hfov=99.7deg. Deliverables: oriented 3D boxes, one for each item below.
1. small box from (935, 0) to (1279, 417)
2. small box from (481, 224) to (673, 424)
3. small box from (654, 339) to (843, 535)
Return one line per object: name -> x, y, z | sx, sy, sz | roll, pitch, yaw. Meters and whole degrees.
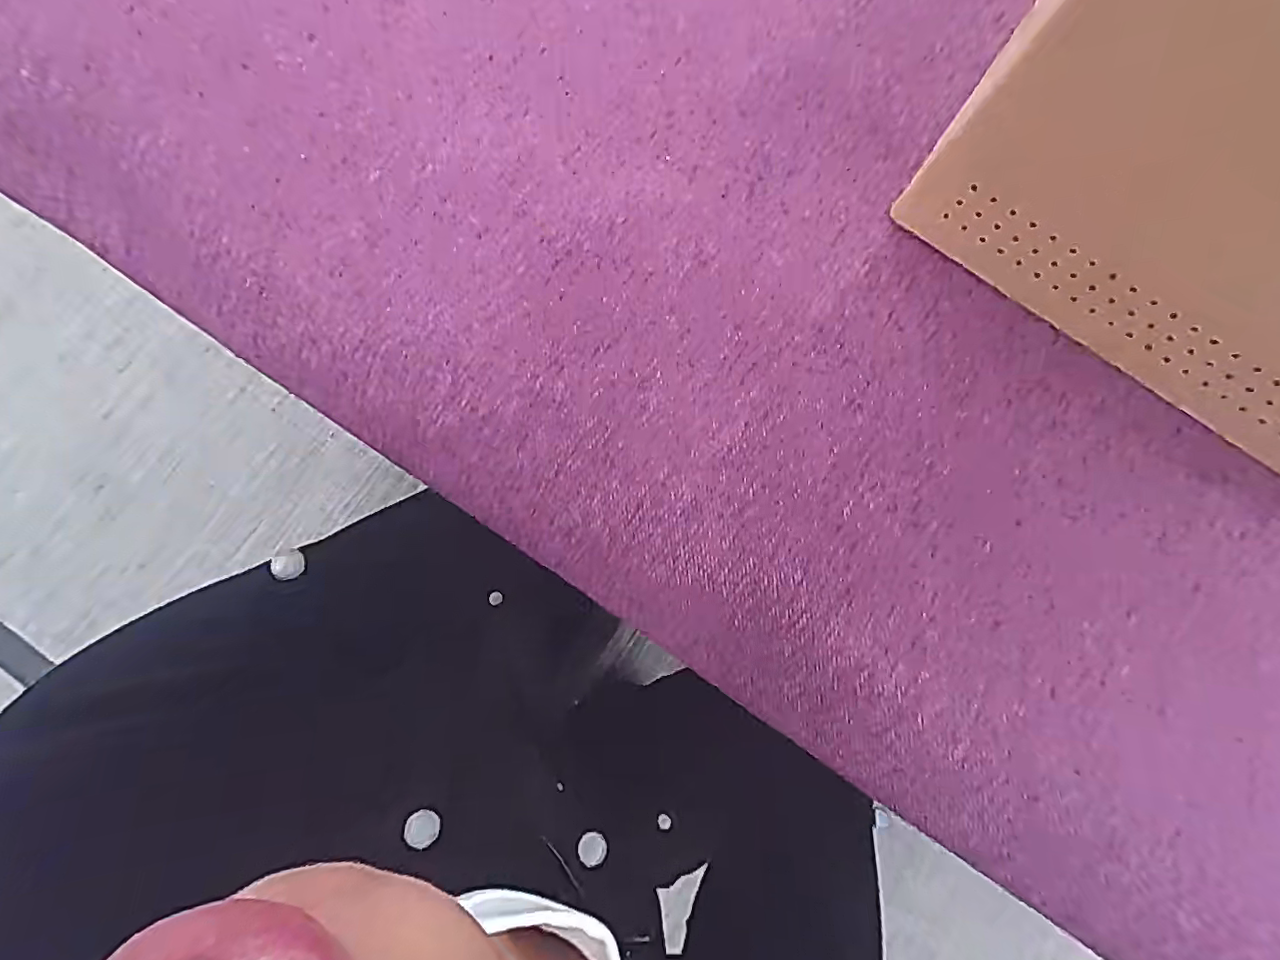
small box -> 0.206, -0.119, 0.097 | 0.179, 0.176, 0.168 | 35, 80, 3
small box -> -0.077, -0.191, 0.726 | 0.179, 0.176, 0.168 | 32, 83, 2
small box -> 0.144, -0.055, 0.747 | 0.179, 0.176, 0.168 | 34, 47, 1
